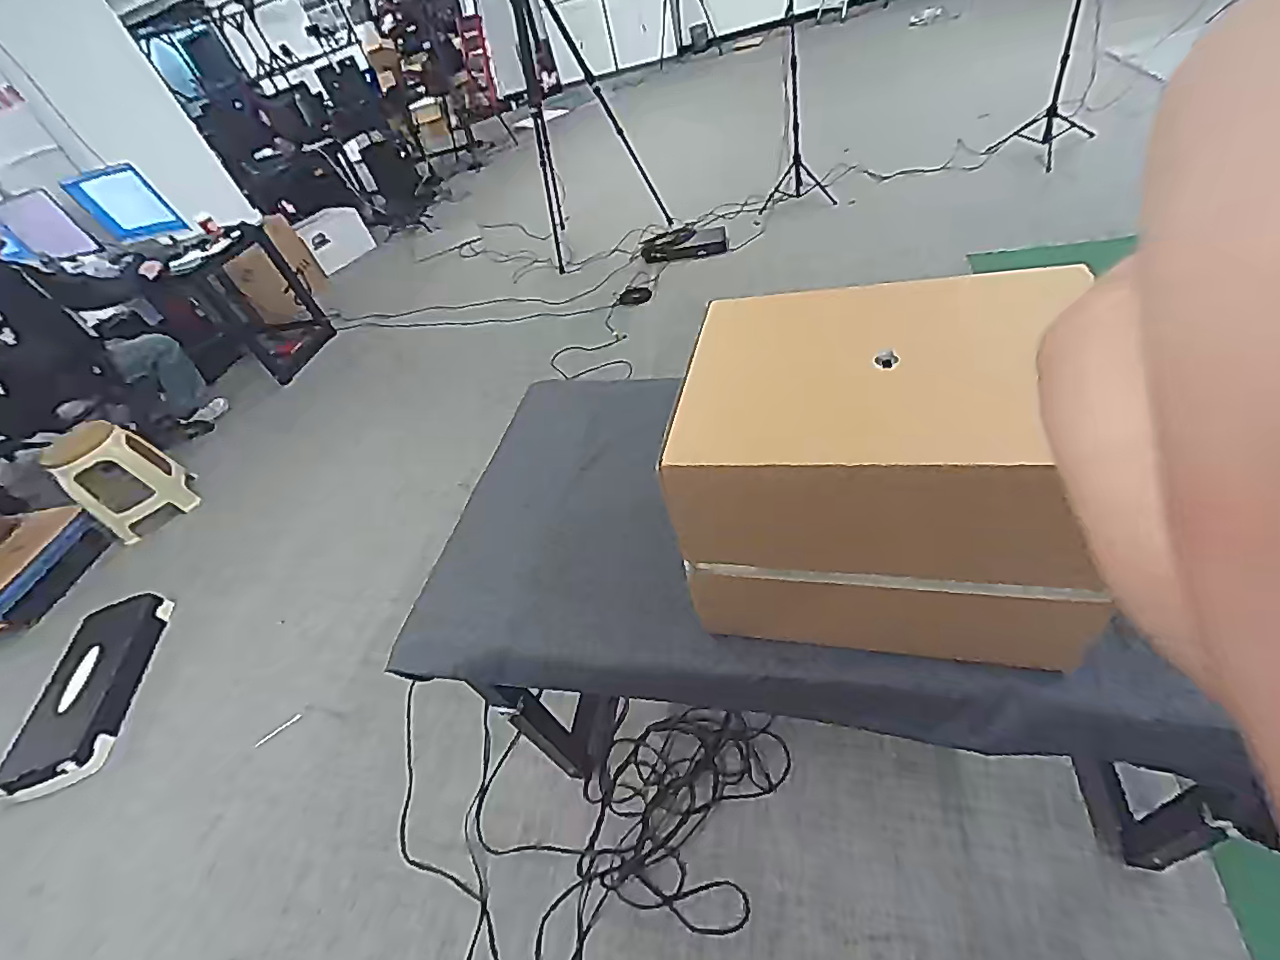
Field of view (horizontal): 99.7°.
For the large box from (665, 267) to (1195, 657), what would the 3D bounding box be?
[{"bbox_3d":[0.275,-0.018,0.641,0.408,0.320,0.320,1,46,18],"label":"large box"}]
